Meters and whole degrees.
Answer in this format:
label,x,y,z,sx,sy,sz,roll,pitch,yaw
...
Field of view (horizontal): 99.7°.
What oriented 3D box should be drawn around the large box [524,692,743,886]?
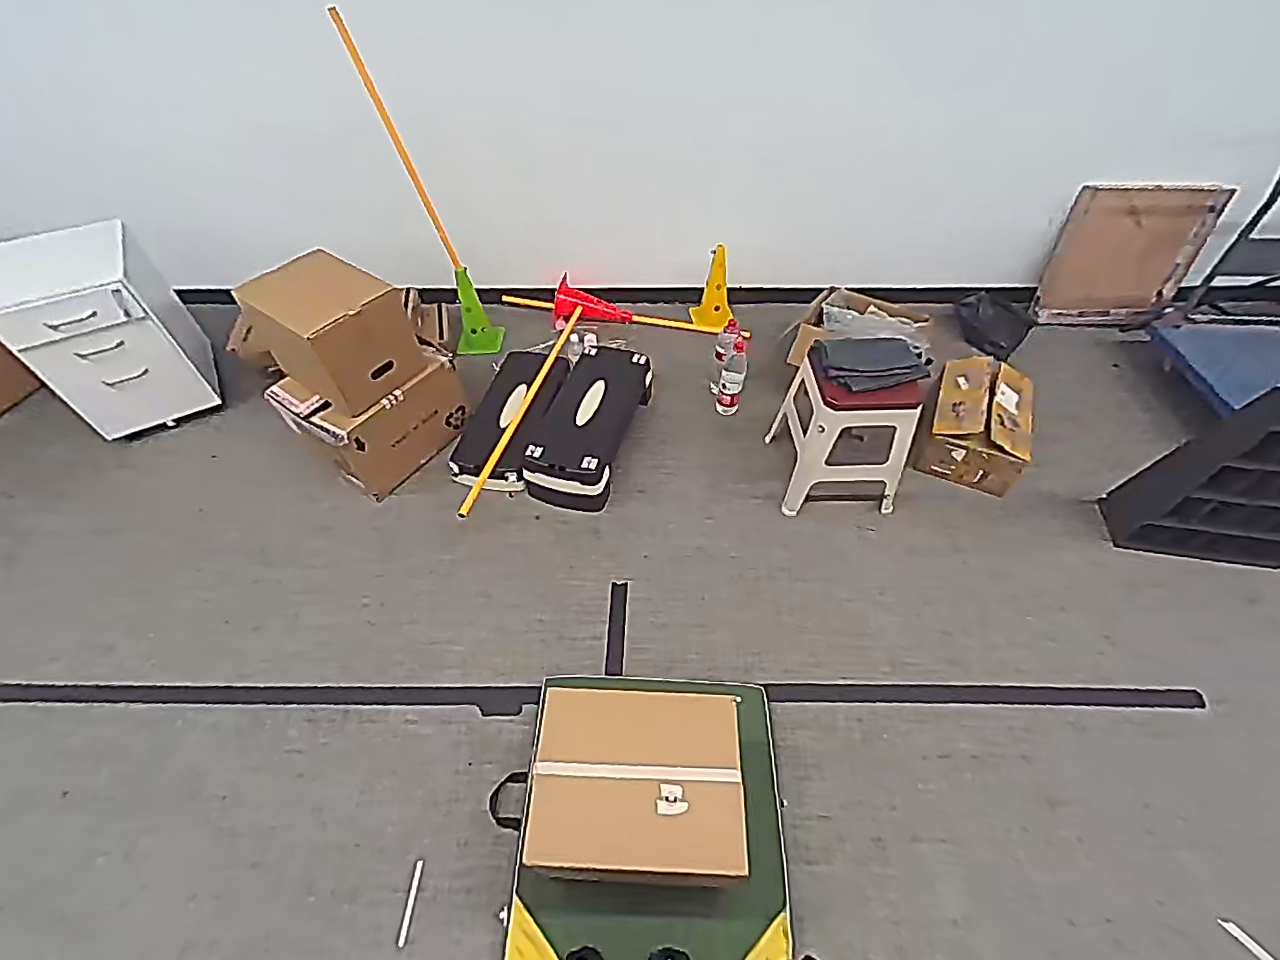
label,x,y,z,sx,sy,sz,roll,pitch,yaw
large box,-0.013,0.677,1.177,0.408,0.320,0.320,2,50,1
